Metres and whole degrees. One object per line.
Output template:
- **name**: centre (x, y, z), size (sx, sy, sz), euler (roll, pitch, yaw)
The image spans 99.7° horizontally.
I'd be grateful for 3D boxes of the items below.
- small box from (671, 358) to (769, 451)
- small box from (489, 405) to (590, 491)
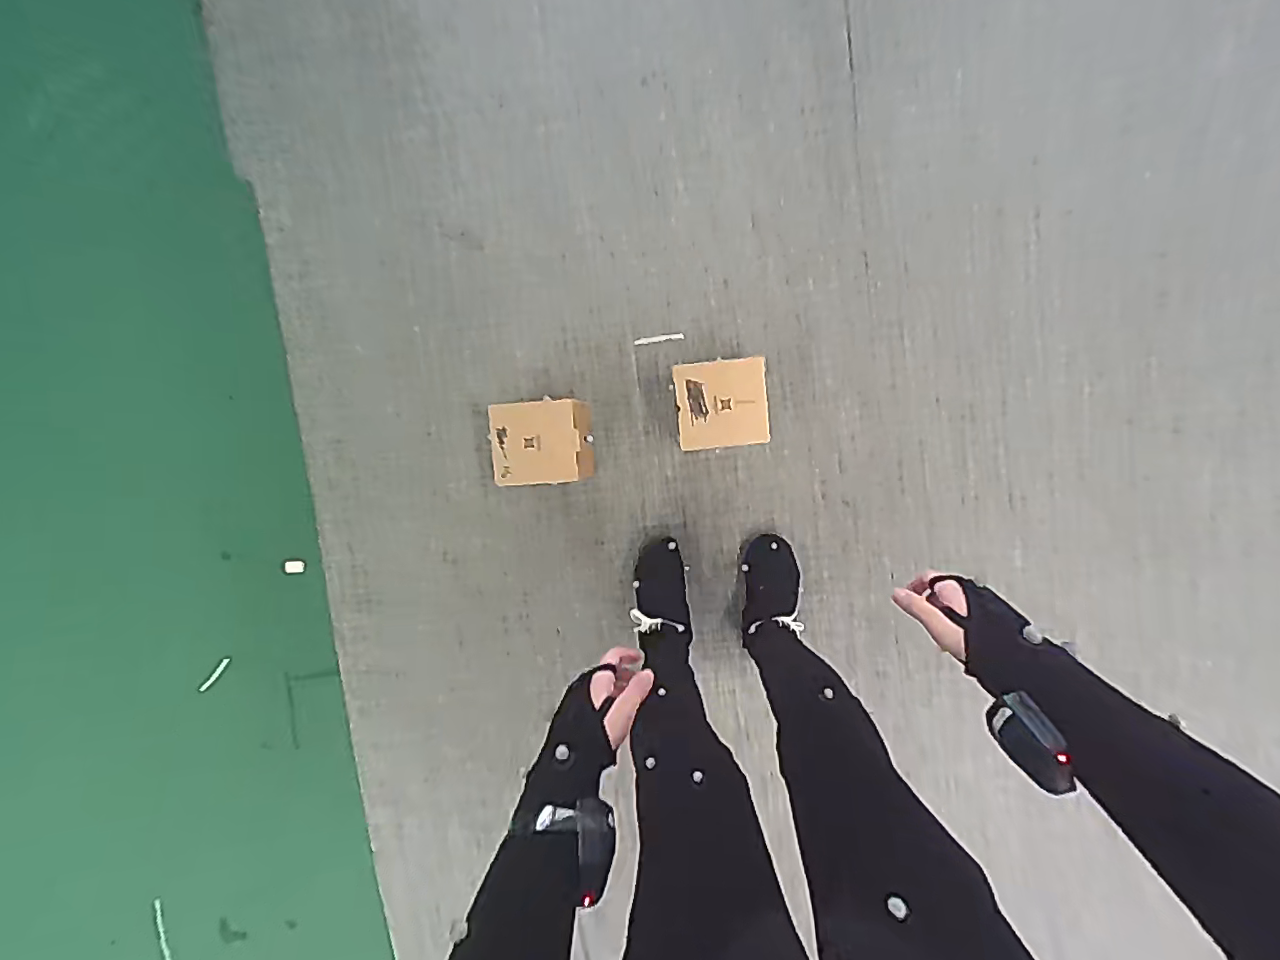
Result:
- **small box**: centre (0.160, -0.148, 1.107), size (0.179, 0.176, 0.168), euler (-5, 95, 5)
- **small box**: centre (-0.204, -0.072, 1.151), size (0.179, 0.176, 0.168), euler (-4, 95, 4)
